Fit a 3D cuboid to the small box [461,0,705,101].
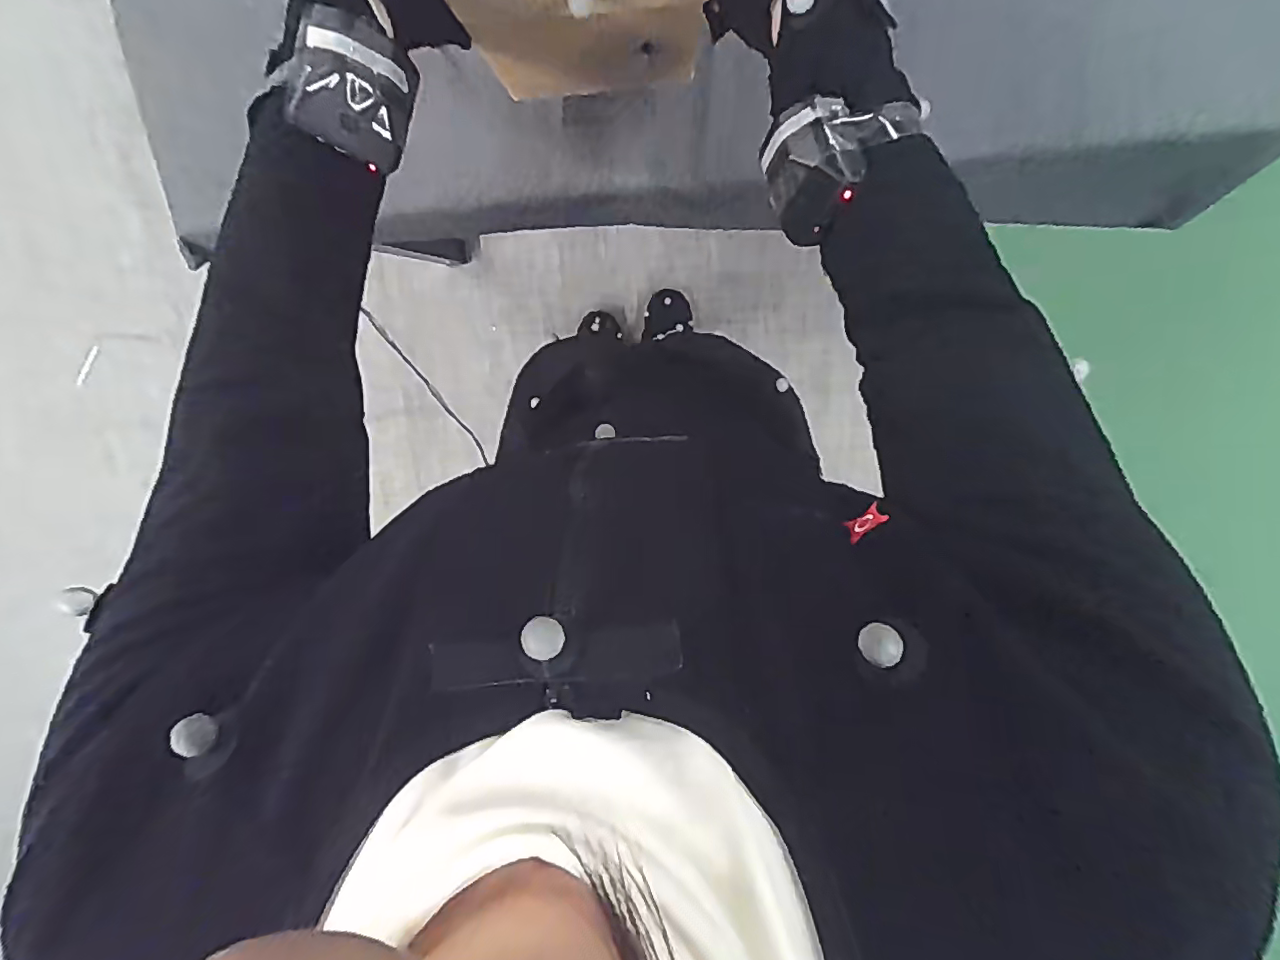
[{"bbox_3d":[-0.043,-0.430,0.428,0.179,0.176,0.168,-4,107,5],"label":"small box"}]
